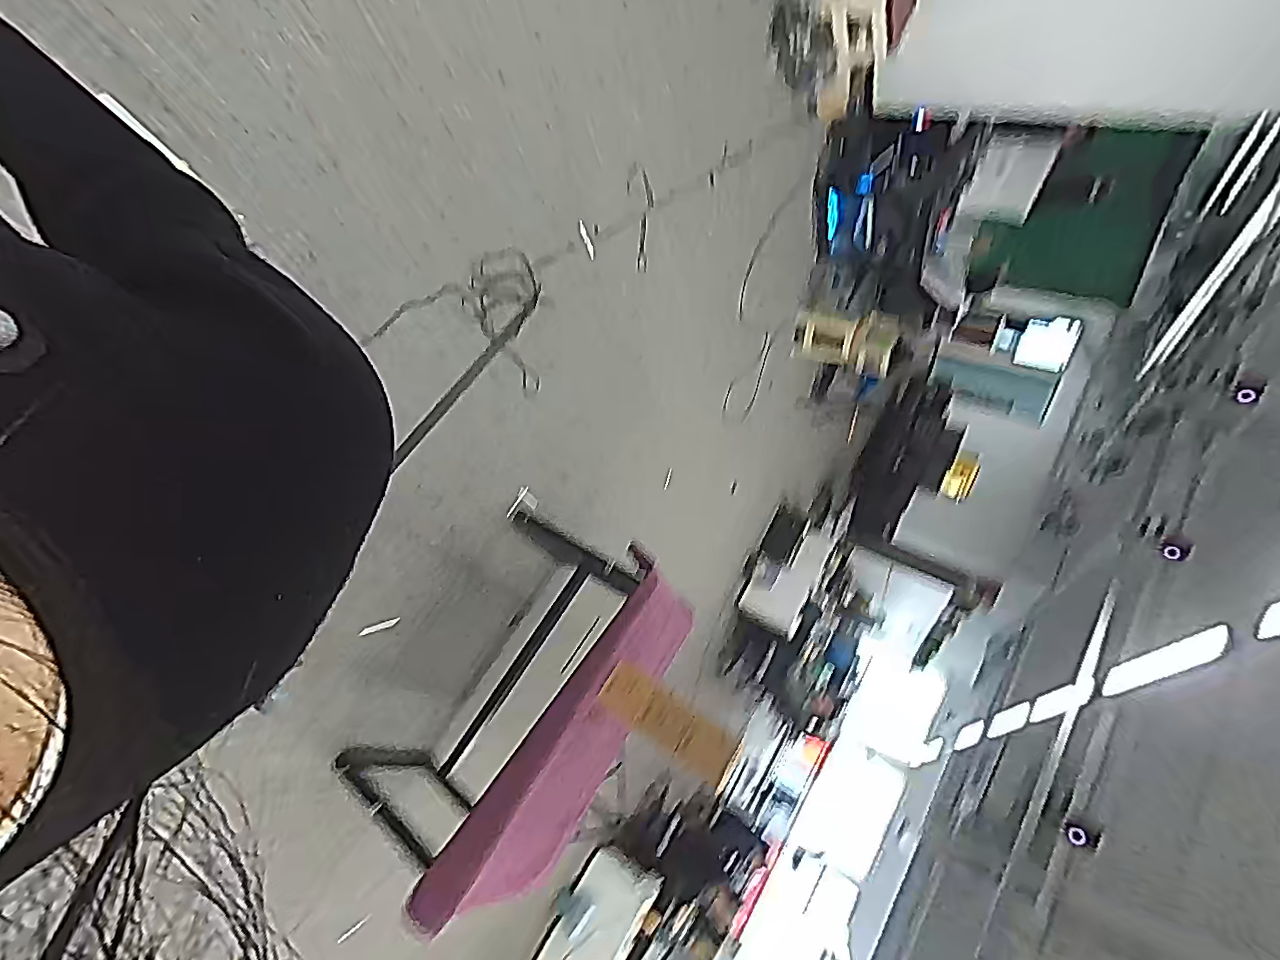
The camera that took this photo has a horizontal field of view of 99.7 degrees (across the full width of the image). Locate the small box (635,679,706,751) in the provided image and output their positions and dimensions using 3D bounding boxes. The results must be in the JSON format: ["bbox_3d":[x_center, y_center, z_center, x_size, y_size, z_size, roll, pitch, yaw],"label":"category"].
[{"bbox_3d":[0.106,0.817,1.888,0.168,0.176,0.179,-57,150,-15],"label":"small box"}]

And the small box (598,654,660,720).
[{"bbox_3d":[-0.028,0.757,1.961,0.168,0.176,0.179,-56,151,-17],"label":"small box"}]
